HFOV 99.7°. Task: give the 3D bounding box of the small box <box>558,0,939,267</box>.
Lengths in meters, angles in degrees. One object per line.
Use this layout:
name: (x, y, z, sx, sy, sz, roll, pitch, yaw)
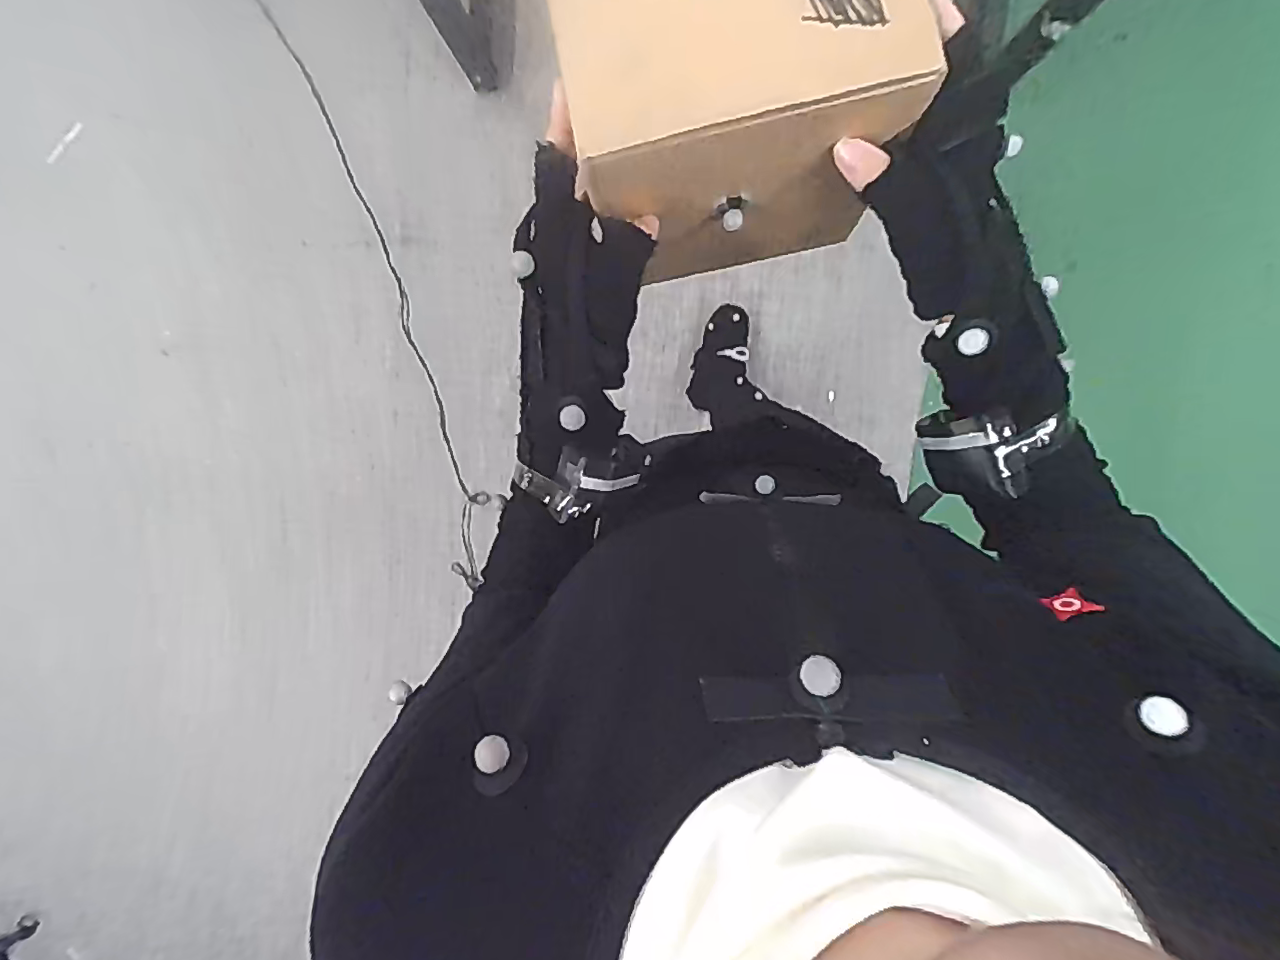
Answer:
small box: (0.050, -0.261, 0.343, 0.179, 0.176, 0.168, -11, 87, 6)
